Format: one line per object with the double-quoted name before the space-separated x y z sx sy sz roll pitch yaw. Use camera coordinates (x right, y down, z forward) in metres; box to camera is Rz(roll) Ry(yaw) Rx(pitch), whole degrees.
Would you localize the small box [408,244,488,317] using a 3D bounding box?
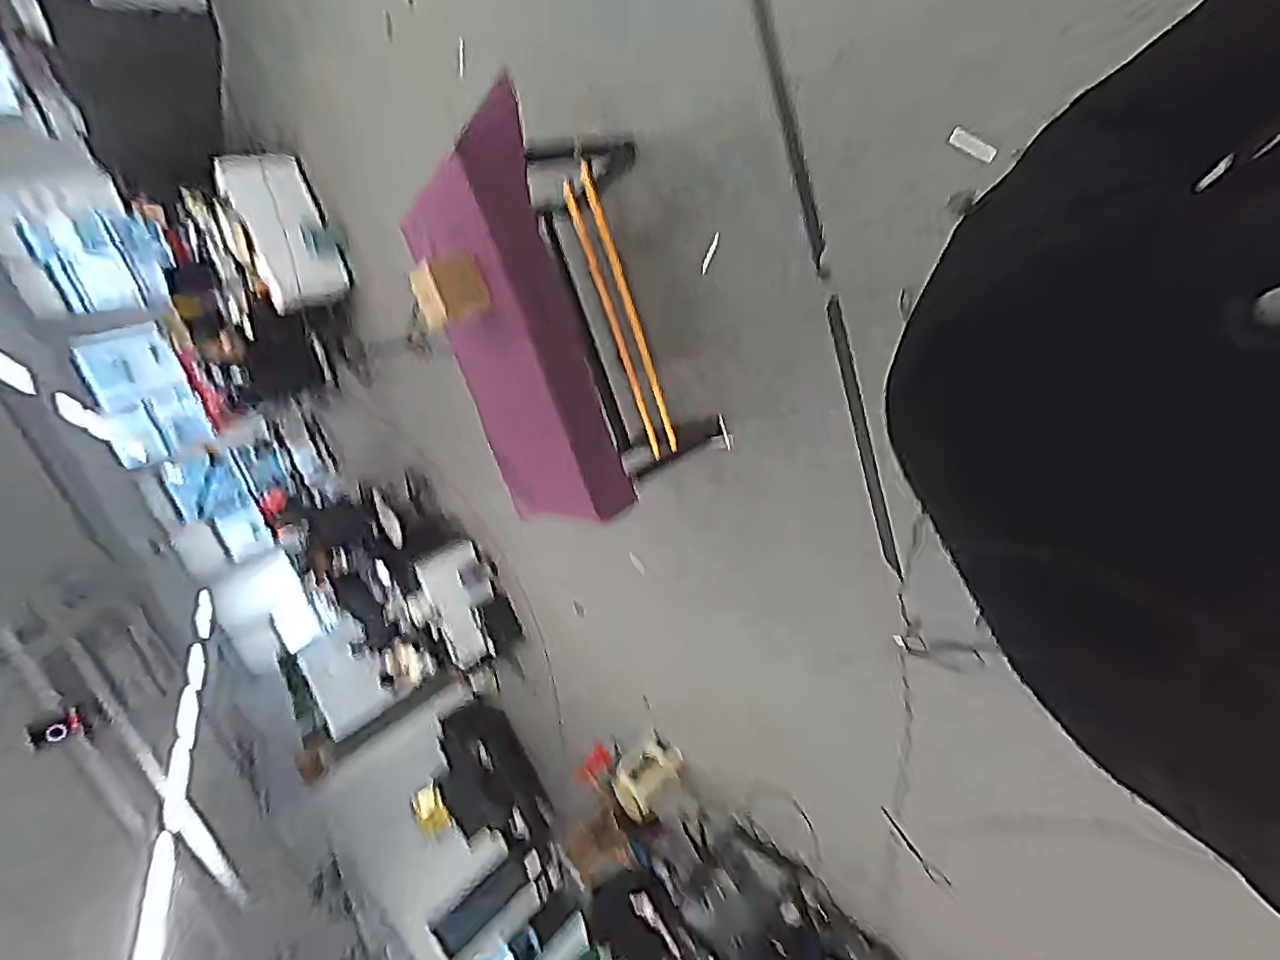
"small box" -0.621 -0.651 1.762 0.179 0.176 0.168 0 115 52
